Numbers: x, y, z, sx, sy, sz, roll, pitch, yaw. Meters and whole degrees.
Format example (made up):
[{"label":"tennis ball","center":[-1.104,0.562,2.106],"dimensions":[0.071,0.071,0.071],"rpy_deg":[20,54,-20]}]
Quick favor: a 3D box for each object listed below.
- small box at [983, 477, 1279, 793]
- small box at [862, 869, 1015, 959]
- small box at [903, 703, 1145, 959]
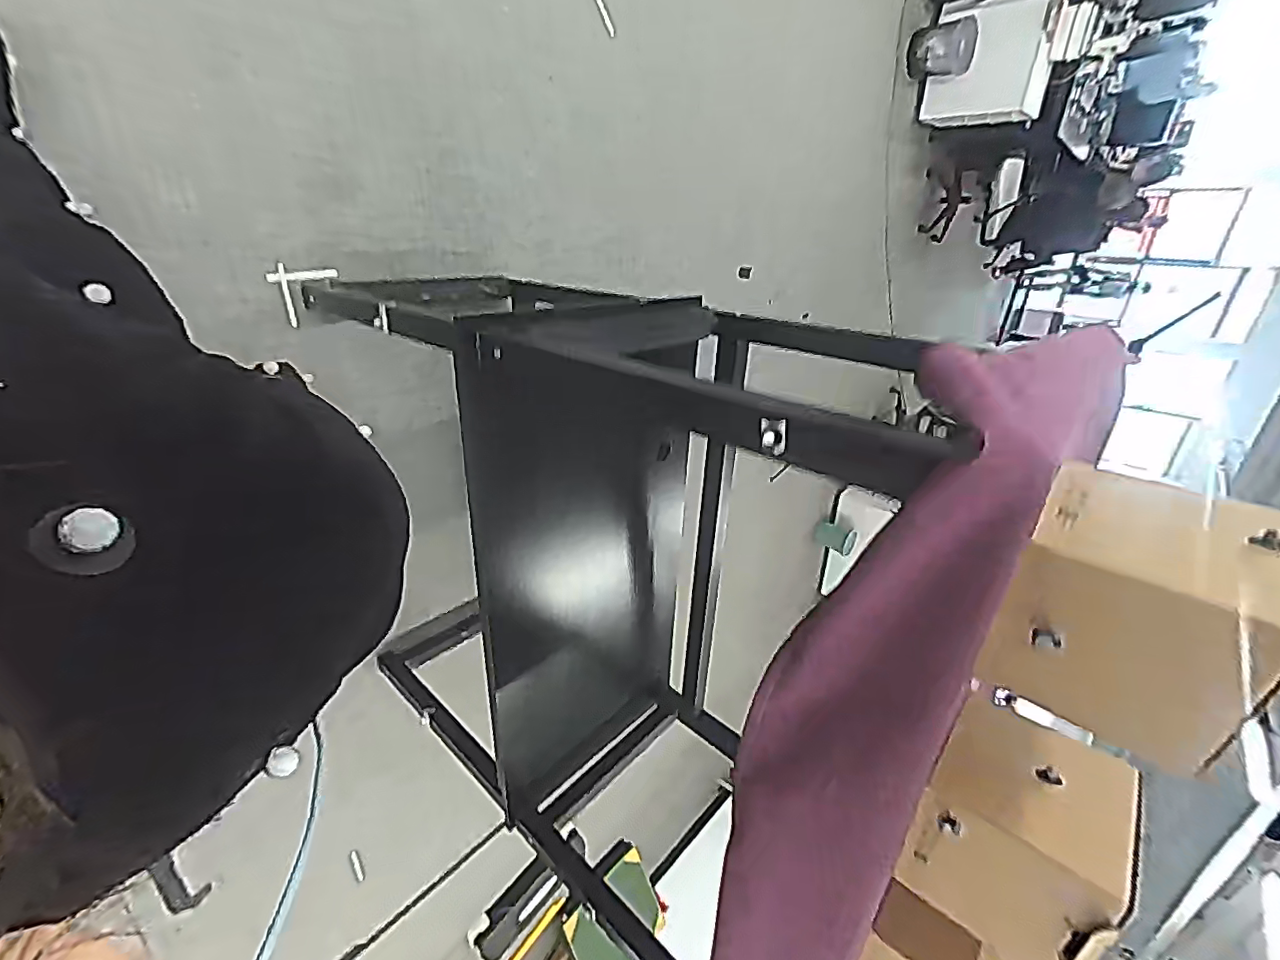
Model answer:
[{"label":"small box","center":[0.437,0.124,0.489],"dimensions":[0.168,0.176,0.179],"rpy_deg":[-33,133,-37]},{"label":"small box","center":[0.402,0.630,0.703],"dimensions":[0.179,0.176,0.168],"rpy_deg":[-25,126,-42]},{"label":"small box","center":[0.413,0.392,0.597],"dimensions":[0.179,0.176,0.168],"rpy_deg":[-26,127,-43]}]
